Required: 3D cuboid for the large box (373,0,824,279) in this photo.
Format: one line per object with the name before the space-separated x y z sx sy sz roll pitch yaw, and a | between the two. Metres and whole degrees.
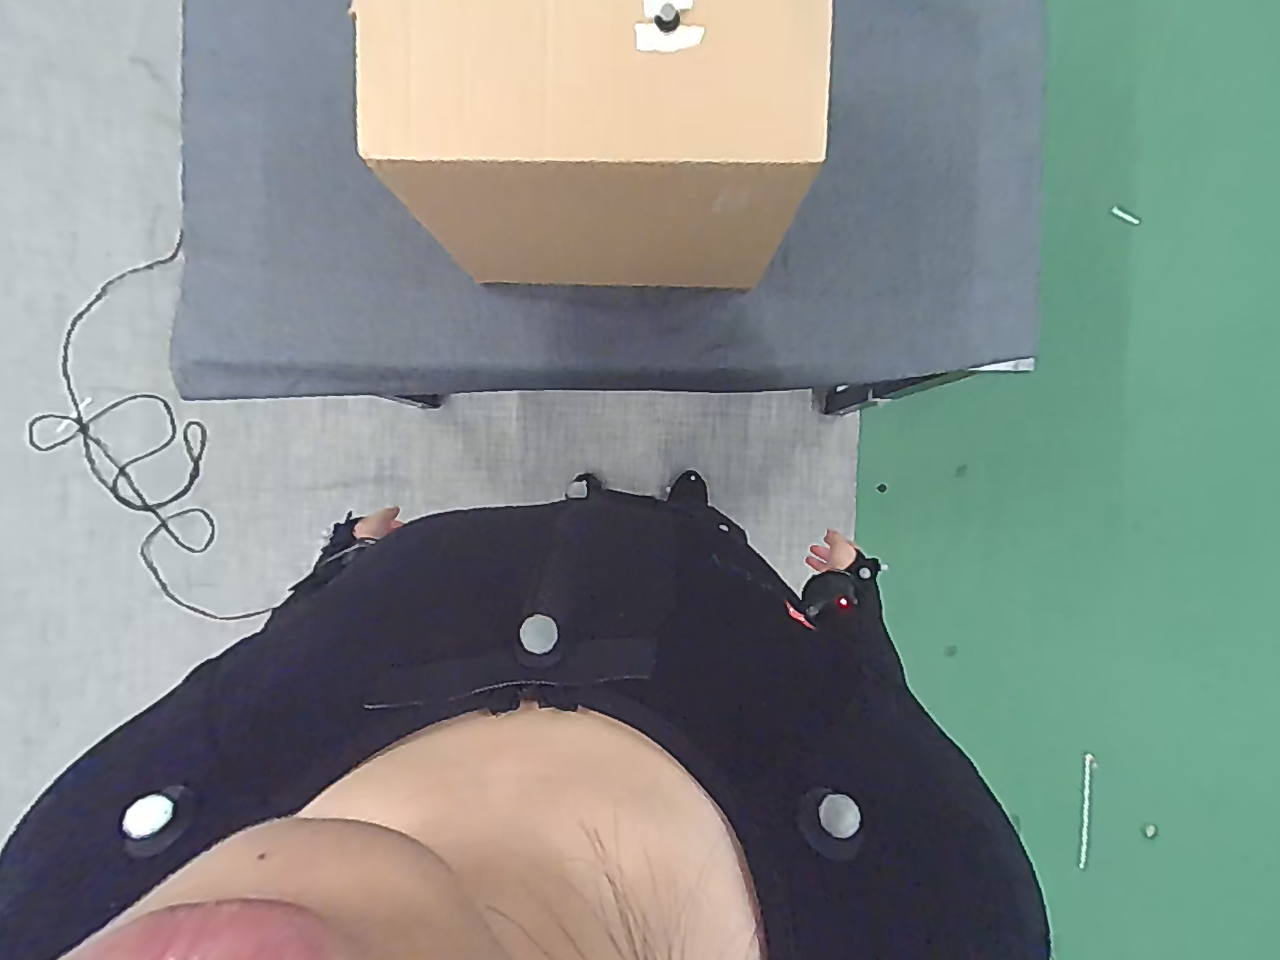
large box | -0.036 -0.440 0.623 0.408 0.320 0.320 1 92 1
